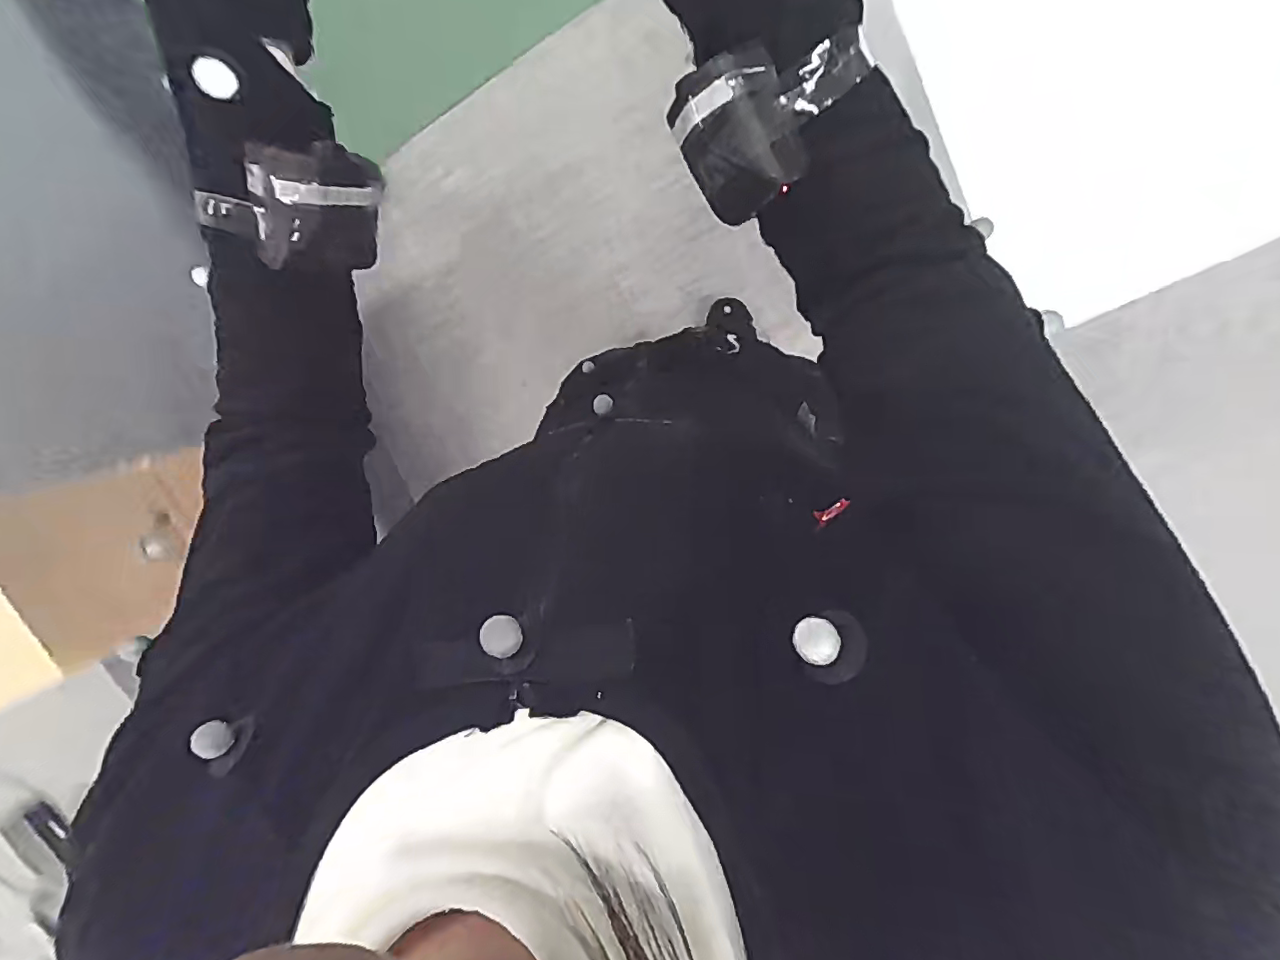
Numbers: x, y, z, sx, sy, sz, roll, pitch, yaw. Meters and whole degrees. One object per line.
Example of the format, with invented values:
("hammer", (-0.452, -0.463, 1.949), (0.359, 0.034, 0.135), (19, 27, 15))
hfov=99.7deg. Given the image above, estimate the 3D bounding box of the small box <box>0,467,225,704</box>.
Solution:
("small box", (-0.597, 0.106, 0.565), (0.179, 0.176, 0.168), (-25, 100, 18))
